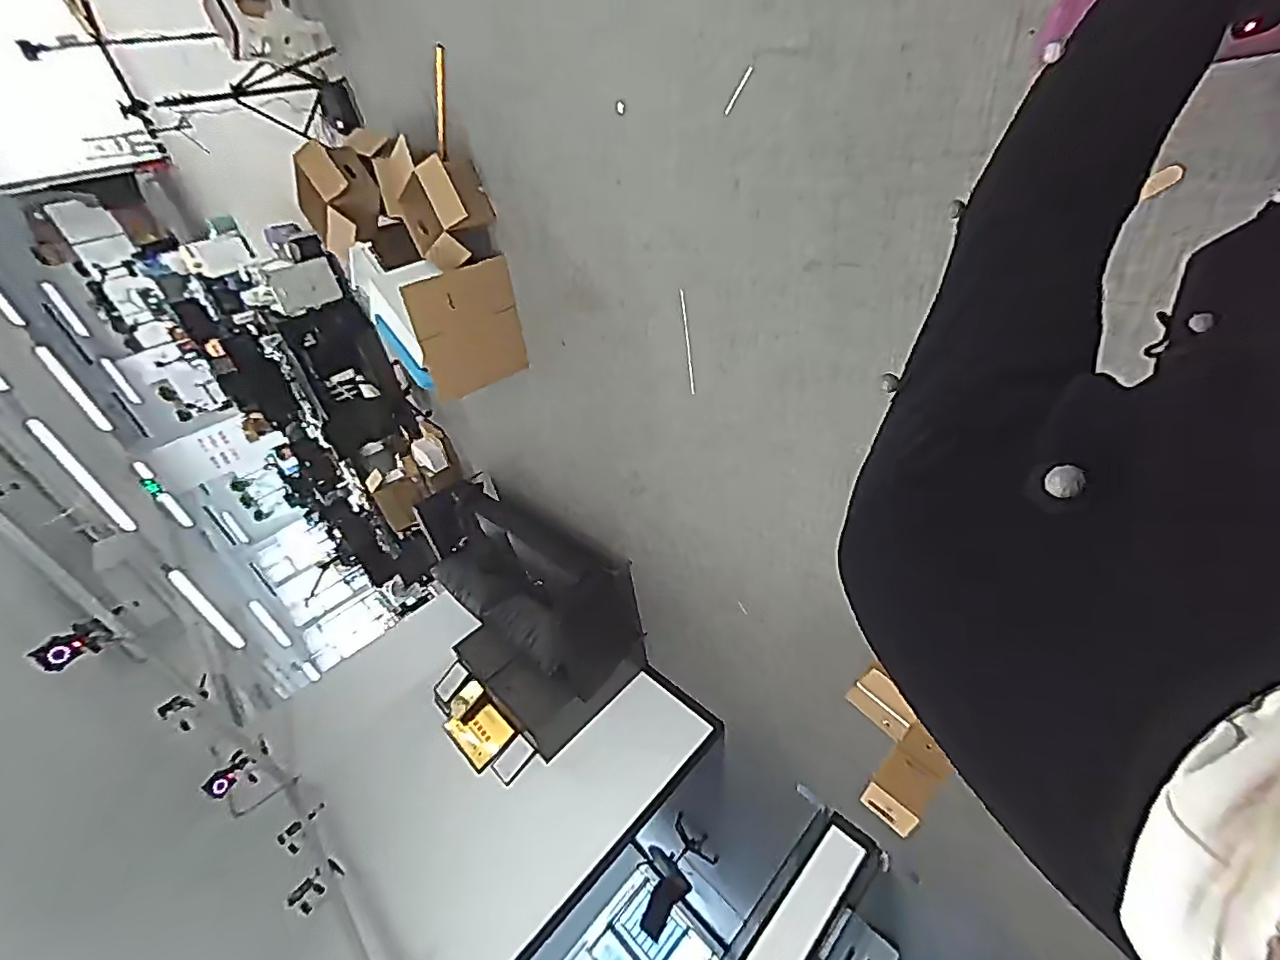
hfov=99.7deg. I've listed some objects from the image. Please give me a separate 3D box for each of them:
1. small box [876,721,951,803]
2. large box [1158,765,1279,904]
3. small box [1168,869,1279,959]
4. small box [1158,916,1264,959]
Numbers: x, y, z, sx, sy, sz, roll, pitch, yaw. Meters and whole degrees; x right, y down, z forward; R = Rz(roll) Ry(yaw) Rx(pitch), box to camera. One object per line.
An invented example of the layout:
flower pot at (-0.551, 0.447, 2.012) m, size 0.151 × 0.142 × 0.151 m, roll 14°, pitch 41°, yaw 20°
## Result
small box at (0.992, 1.012, 1.952) m, size 0.168 × 0.176 × 0.179 m, roll 34°, pitch 142°, yaw 32°
large box at (1.728, 1.038, 1.445) m, size 0.408 × 0.320 × 0.320 m, roll -18°, pitch 105°, yaw 57°
small box at (1.503, 1.142, 1.374) m, size 0.179 × 0.176 × 0.168 m, roll -19°, pitch 103°, yaw 58°
small box at (1.383, 1.214, 1.290) m, size 0.168 × 0.176 × 0.179 m, roll -16°, pitch 105°, yaw 57°
